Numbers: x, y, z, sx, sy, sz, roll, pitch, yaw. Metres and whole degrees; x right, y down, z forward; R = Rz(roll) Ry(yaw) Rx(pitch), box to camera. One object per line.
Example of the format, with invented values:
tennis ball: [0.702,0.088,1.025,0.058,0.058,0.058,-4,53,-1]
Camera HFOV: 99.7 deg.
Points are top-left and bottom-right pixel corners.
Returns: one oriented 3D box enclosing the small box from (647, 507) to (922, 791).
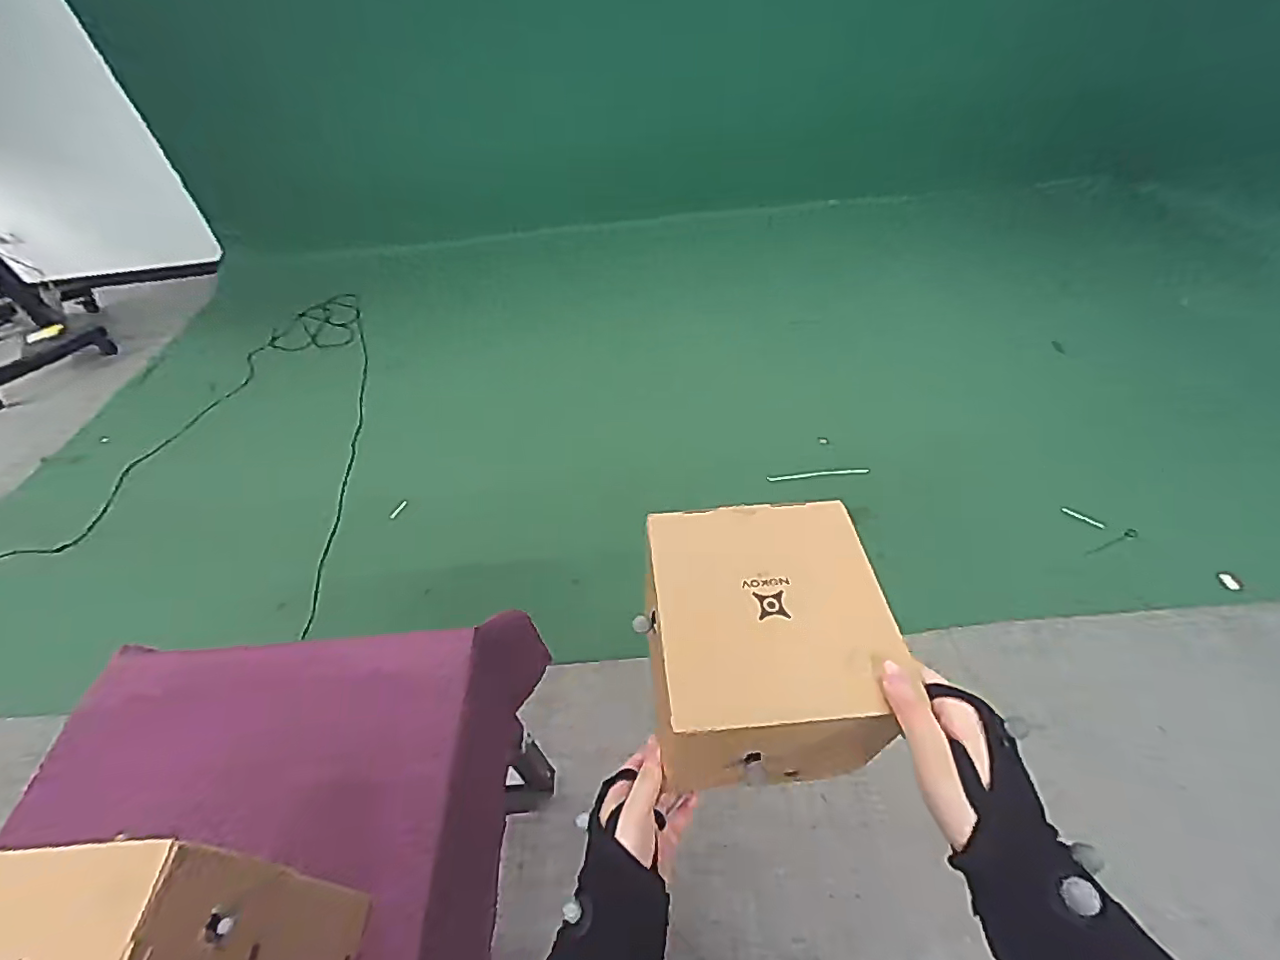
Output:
small box: [0.096,0.146,0.455,0.168,0.176,0.179,-4,48,-3]

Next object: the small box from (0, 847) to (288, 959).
small box: [-0.416,0.392,0.409,0.179,0.176,0.168,-5,46,2]
